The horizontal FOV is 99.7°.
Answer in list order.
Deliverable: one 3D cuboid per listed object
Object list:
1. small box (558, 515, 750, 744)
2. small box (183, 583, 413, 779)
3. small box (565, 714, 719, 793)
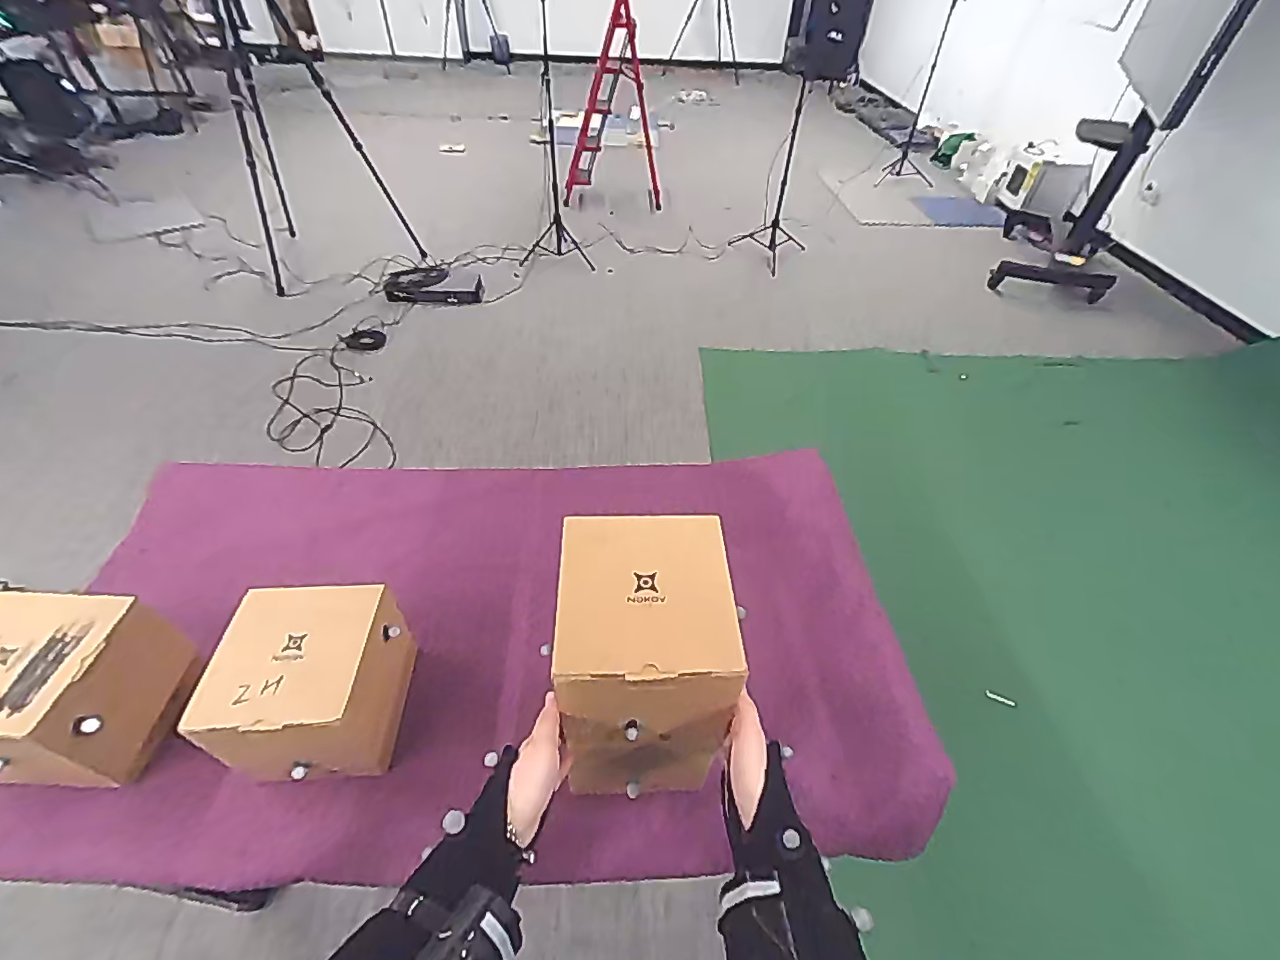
[{"bbox_3d":[0.005,0.156,0.566,0.168,0.176,0.179,0,46,-4],"label":"small box"},{"bbox_3d":[-0.399,0.249,0.675,0.168,0.176,0.179,-1,45,-4],"label":"small box"},{"bbox_3d":[-0.004,0.272,0.679,0.168,0.176,0.179,0,47,-3],"label":"small box"}]
